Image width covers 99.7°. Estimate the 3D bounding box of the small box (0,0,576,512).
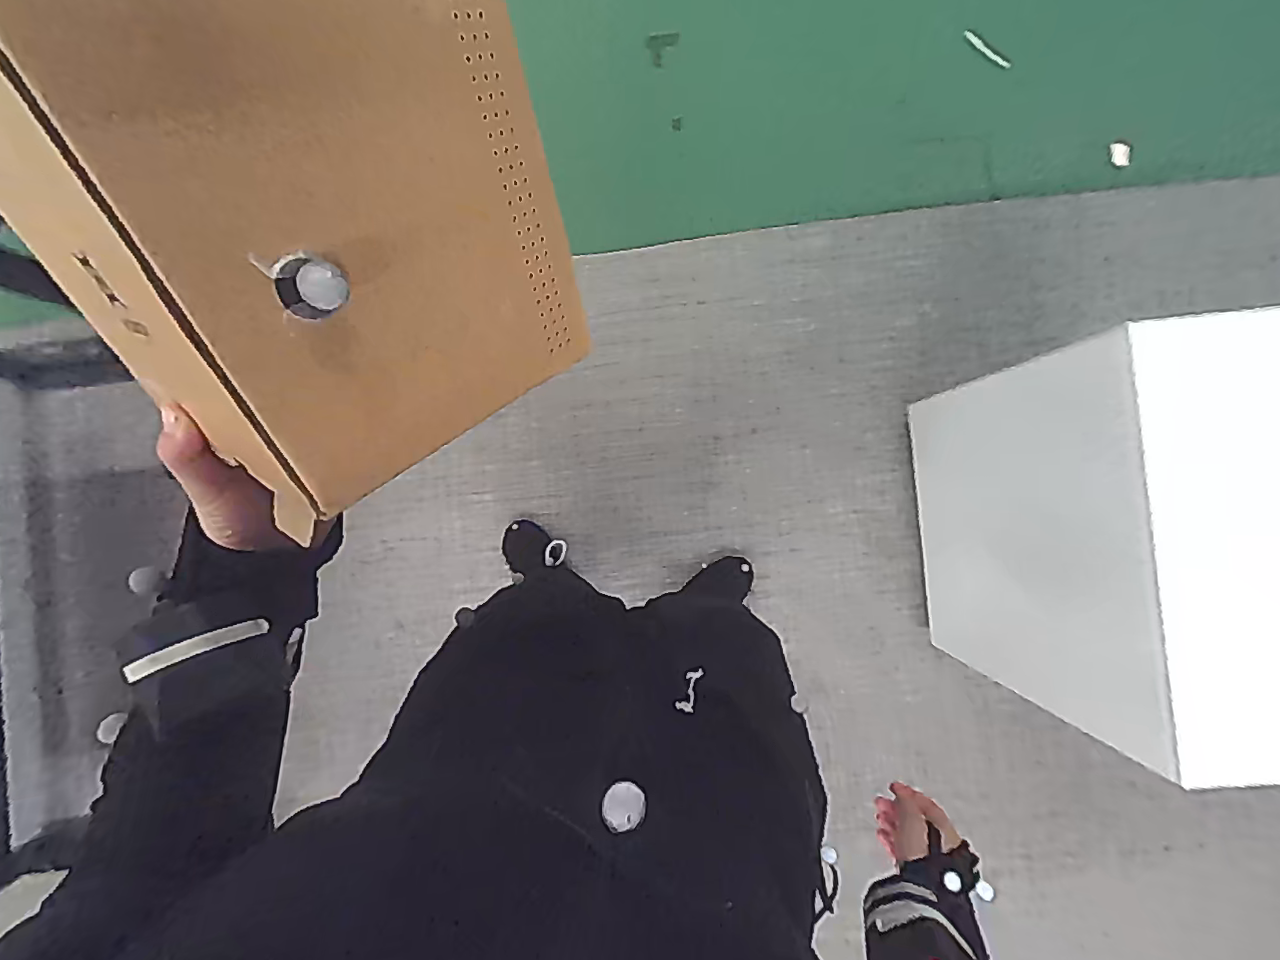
[{"bbox_3d":[-0.157,-0.118,0.253,0.168,0.179,0.176,15,45,34],"label":"small box"}]
